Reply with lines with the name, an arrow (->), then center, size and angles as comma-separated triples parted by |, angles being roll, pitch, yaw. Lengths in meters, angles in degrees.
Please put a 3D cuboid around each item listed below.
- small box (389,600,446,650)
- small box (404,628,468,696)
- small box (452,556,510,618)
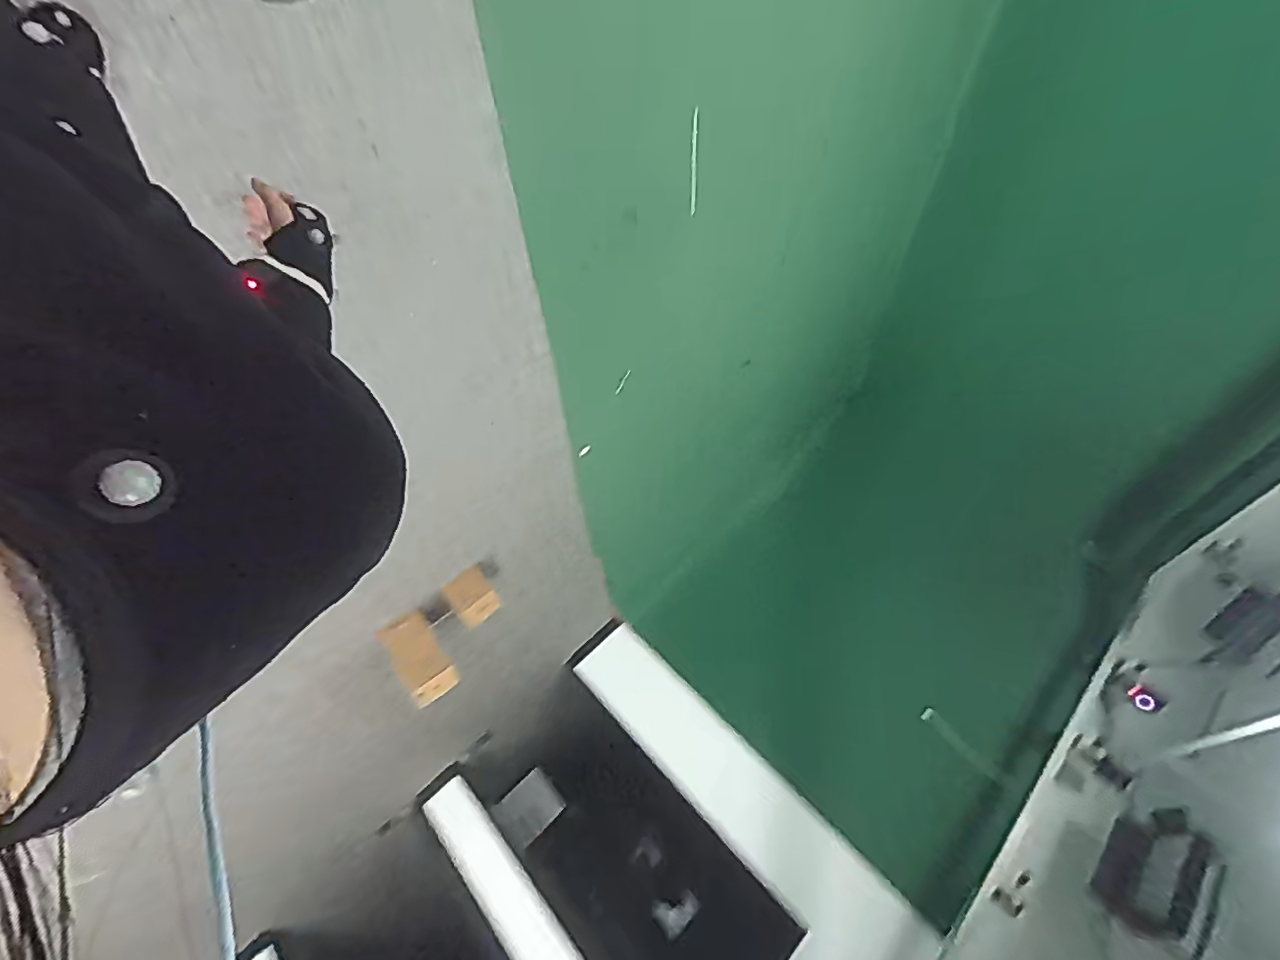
small box -> -0.953, 0.655, 2.340 | 0.168, 0.176, 0.179 | -33, 146, -31
small box -> -0.851, 0.751, 2.252 | 0.179, 0.176, 0.168 | -33, 146, -31
small box -> -0.730, 0.485, 2.462 | 0.179, 0.176, 0.168 | -39, 149, -23
